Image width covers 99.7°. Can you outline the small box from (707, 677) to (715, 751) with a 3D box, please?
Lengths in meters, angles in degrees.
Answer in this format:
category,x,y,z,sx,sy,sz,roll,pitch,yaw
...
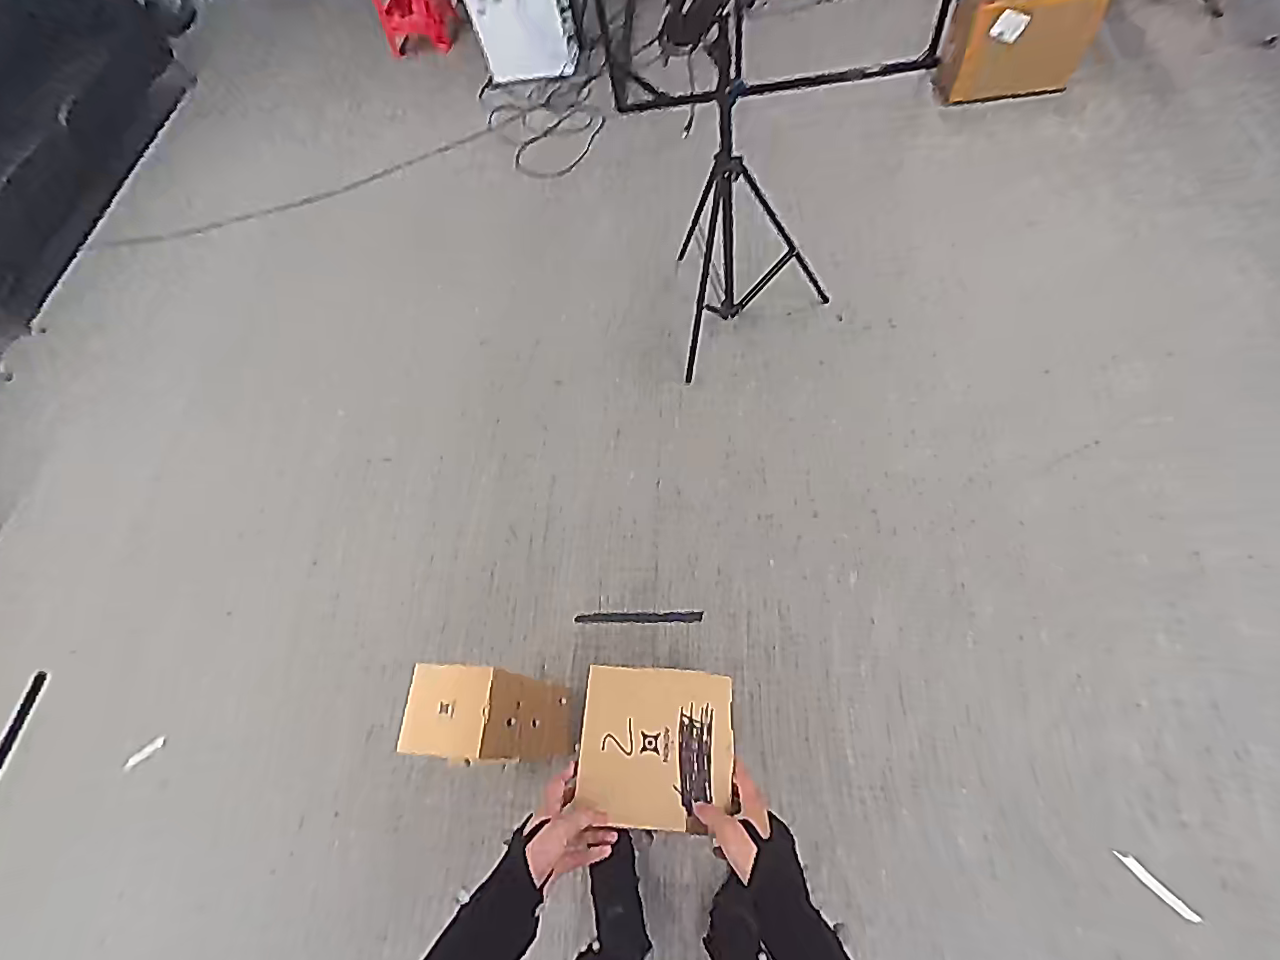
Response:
category,x,y,z,sx,sy,sz,roll,pitch,yaw
small box,0.093,0.582,1.350,0.179,0.176,0.168,0,65,10

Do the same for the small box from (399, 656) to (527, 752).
category,x,y,z,sx,sy,sz,roll,pitch,yaw
small box,-0.358,0.468,1.123,0.179,0.176,0.168,-1,64,11

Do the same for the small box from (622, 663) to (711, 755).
category,x,y,z,sx,sy,sz,roll,pitch,yaw
small box,0.066,0.510,1.205,0.179,0.176,0.168,1,64,10

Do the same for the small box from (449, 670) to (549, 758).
category,x,y,z,sx,sy,sz,roll,pitch,yaw
small box,-0.318,0.548,1.260,0.168,0.176,0.179,-6,64,9

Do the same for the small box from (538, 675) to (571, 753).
category,x,y,z,sx,sy,sz,roll,pitch,yaw
small box,-0.283,0.614,1.406,0.168,0.176,0.179,-7,64,8
